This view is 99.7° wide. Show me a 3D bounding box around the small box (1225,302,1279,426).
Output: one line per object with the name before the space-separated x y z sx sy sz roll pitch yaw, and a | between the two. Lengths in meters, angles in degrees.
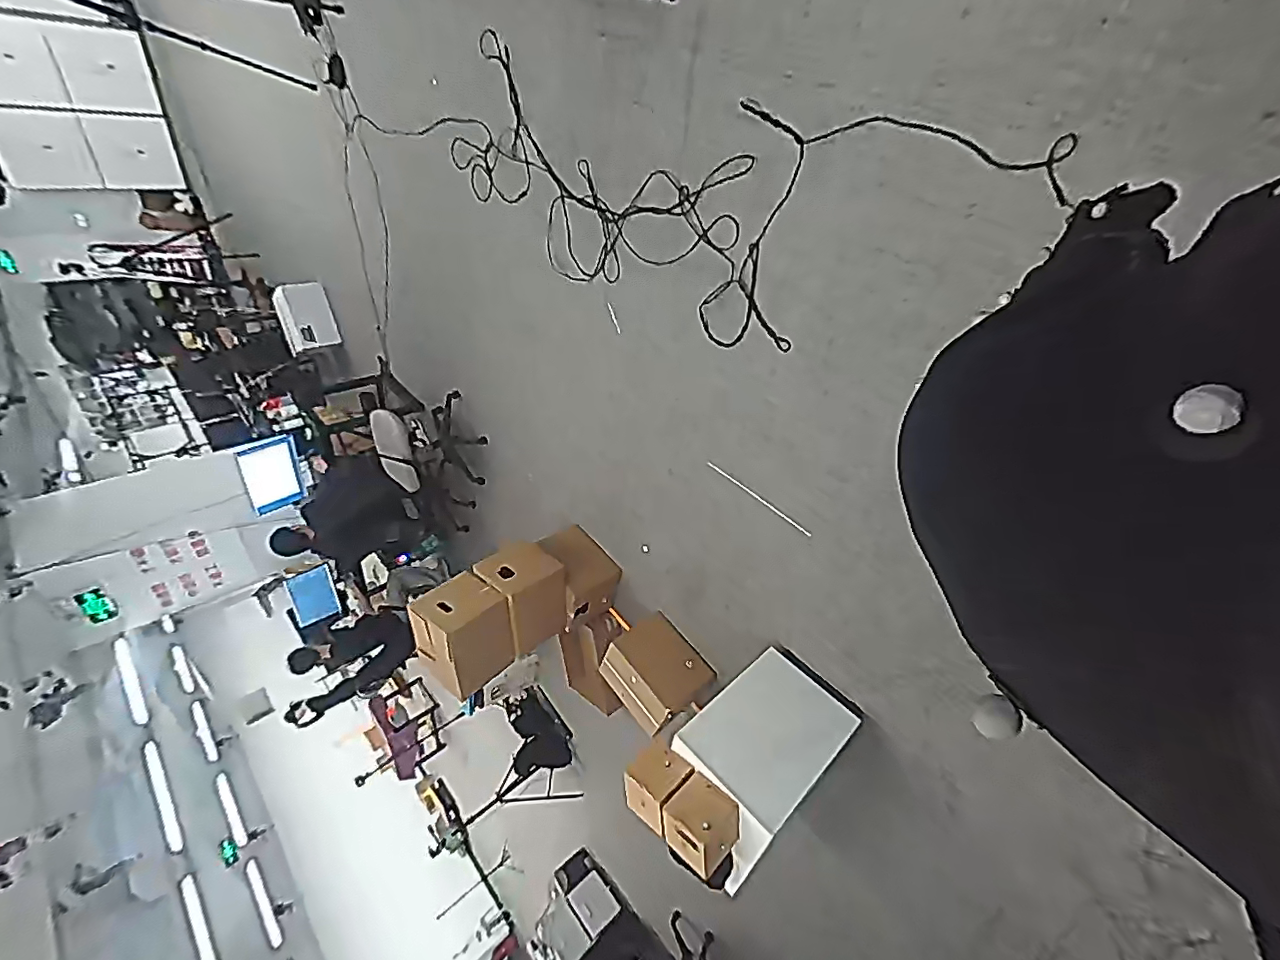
small box | 1.127 -0.187 0.894 0.168 0.176 0.179 21 124 30
